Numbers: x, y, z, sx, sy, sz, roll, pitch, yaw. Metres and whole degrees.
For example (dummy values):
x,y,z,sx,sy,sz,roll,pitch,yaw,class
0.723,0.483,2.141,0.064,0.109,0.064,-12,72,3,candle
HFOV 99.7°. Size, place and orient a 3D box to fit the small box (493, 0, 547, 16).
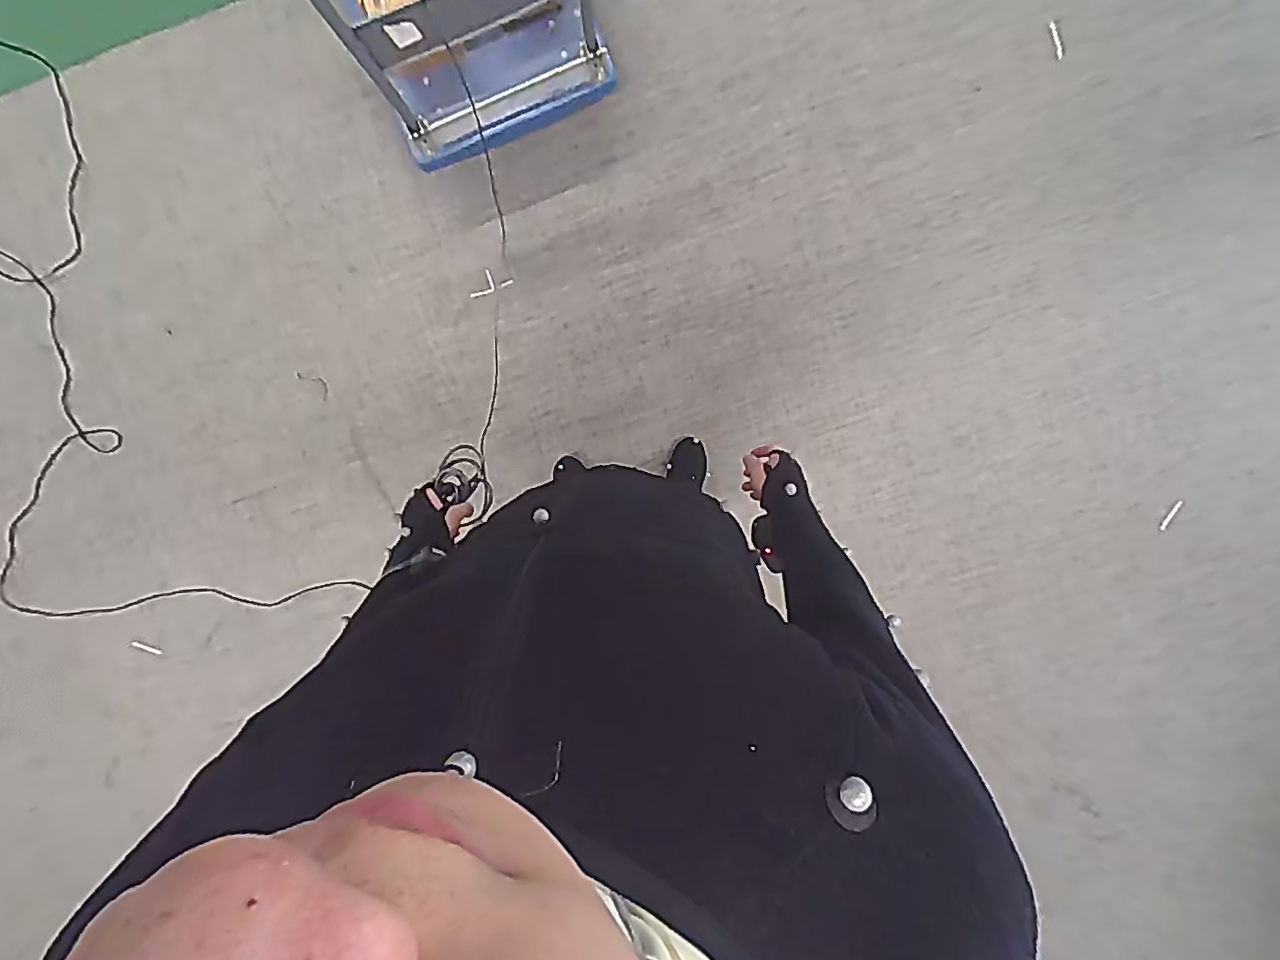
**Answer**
x,y,z,sx,sy,sz,roll,pitch,yaw,class
-0.306,-1.257,1.263,0.168,0.176,0.179,-21,96,2,small box
